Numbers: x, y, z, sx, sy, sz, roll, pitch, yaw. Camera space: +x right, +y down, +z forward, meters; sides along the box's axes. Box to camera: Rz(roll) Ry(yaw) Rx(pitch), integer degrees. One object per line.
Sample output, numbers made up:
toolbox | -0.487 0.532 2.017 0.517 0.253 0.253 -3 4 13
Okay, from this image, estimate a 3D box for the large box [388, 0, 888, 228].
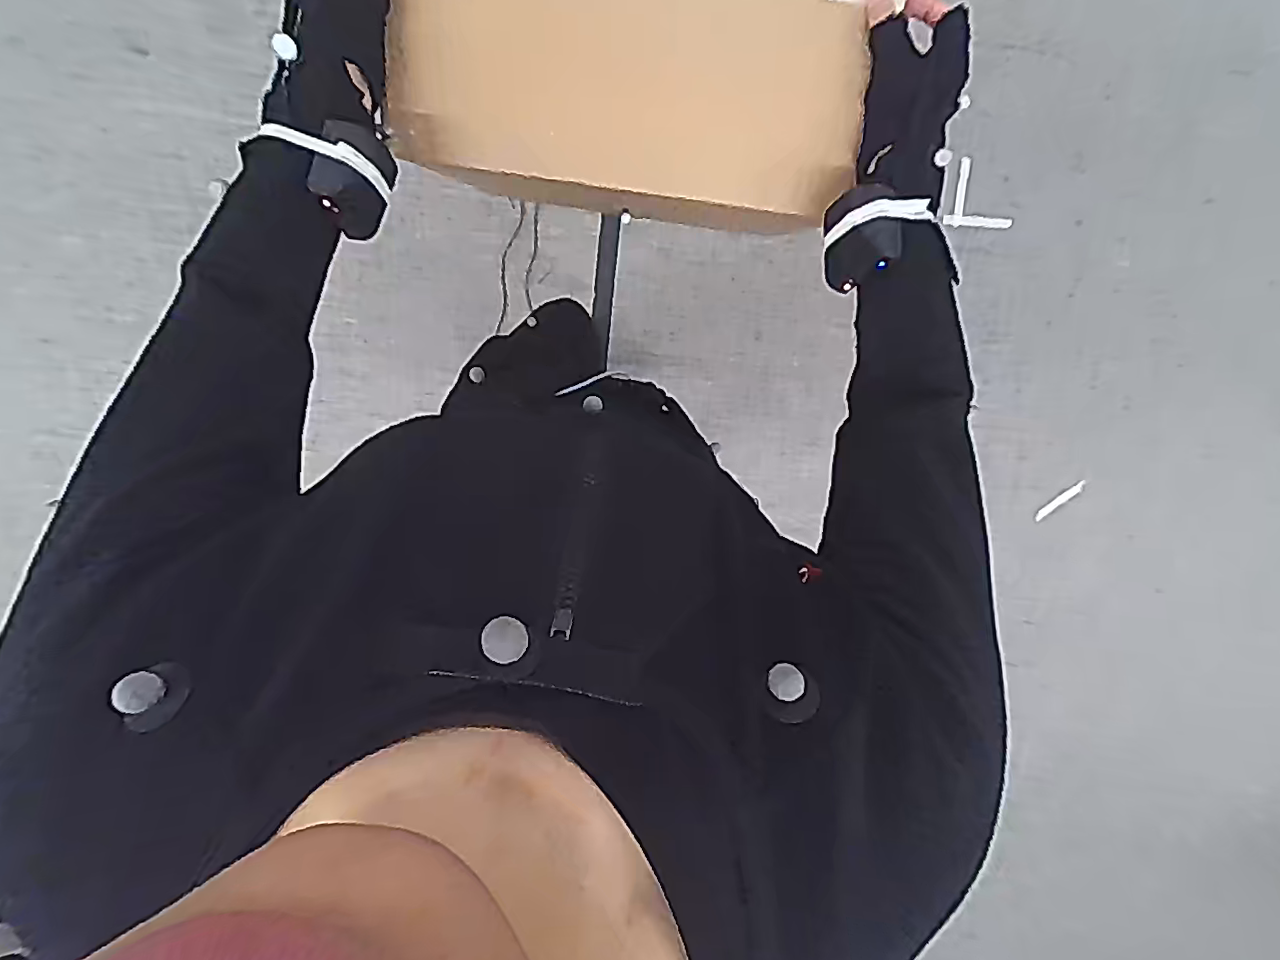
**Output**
large box | 0.006 -0.456 0.560 0.408 0.320 0.320 7 111 -1
